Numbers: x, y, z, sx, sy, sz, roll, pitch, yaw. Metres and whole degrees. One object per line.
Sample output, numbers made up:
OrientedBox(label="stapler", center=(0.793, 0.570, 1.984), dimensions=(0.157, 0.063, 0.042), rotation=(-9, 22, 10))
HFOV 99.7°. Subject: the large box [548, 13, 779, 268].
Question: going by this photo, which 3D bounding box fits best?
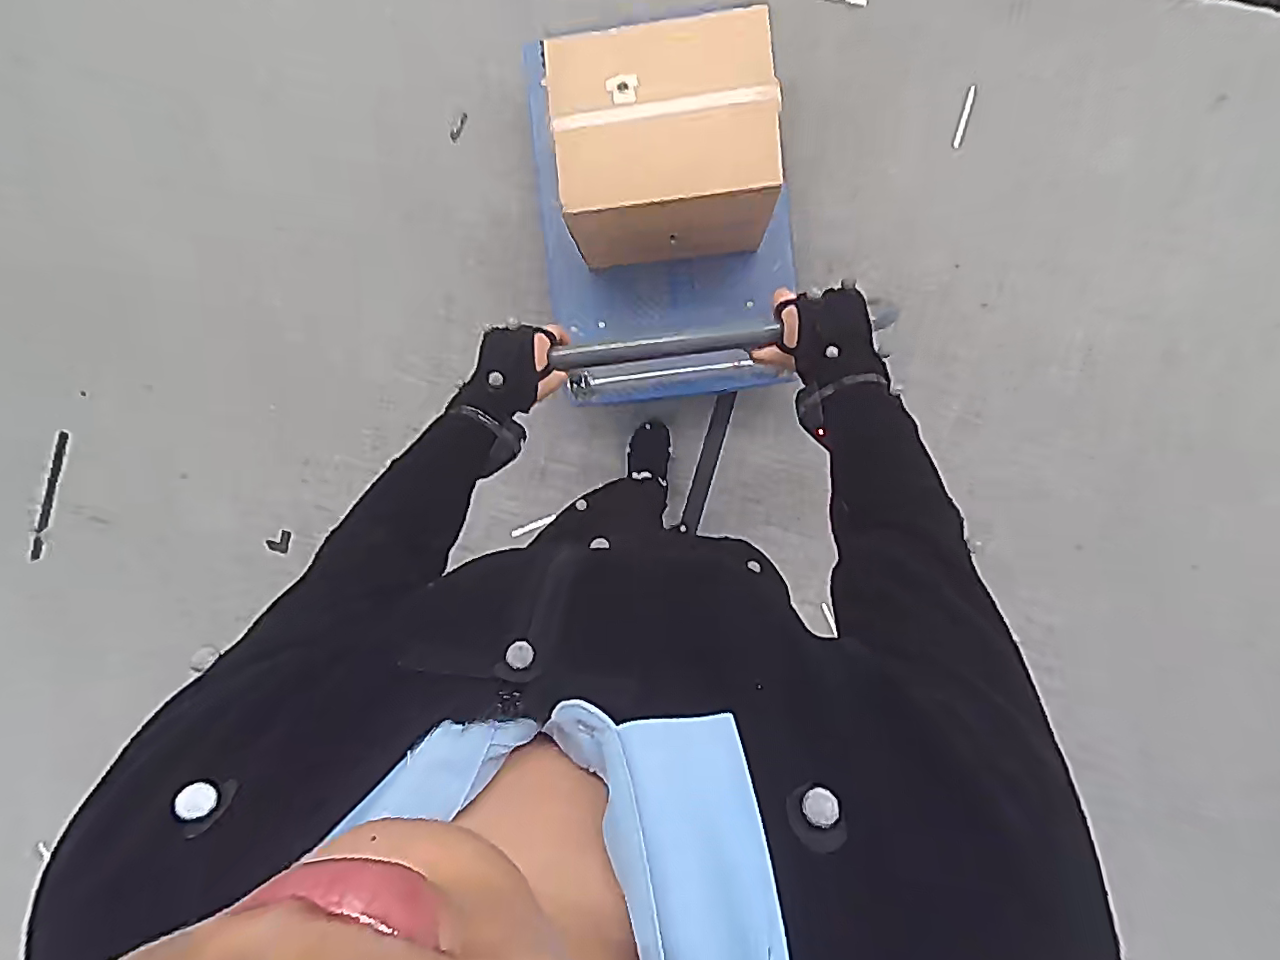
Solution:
OrientedBox(label="large box", center=(0.055, -0.673, 1.139), dimensions=(0.408, 0.320, 0.320), rotation=(-6, 92, 6))
